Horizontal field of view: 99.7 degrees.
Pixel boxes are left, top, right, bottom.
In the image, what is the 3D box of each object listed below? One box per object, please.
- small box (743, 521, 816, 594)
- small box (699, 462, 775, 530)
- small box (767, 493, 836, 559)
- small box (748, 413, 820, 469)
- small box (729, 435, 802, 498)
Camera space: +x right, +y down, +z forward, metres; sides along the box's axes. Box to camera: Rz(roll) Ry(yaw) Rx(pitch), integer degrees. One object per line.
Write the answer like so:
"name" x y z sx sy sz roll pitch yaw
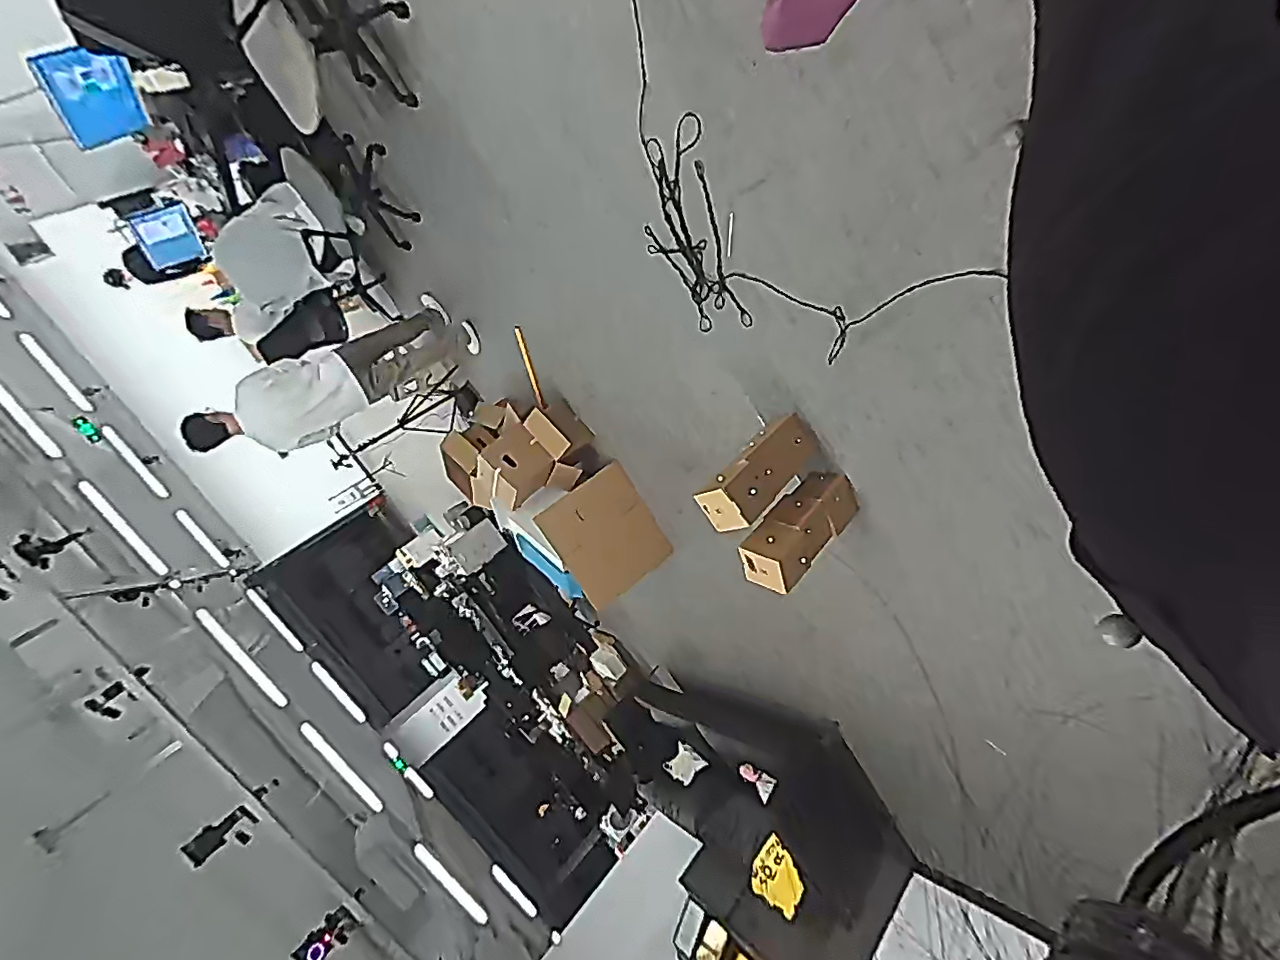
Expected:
"small box" 0.500 0.269 1.931 0.179 0.176 0.168 17 137 46
"small box" 0.346 0.055 1.892 0.168 0.176 0.179 54 150 -9
"small box" 0.607 0.175 2.014 0.168 0.176 0.179 13 134 50
"small box" 0.556 -0.131 2.059 0.168 0.176 0.179 53 153 -5
"small box" 0.456 -0.035 1.973 0.179 0.176 0.168 51 151 -2
